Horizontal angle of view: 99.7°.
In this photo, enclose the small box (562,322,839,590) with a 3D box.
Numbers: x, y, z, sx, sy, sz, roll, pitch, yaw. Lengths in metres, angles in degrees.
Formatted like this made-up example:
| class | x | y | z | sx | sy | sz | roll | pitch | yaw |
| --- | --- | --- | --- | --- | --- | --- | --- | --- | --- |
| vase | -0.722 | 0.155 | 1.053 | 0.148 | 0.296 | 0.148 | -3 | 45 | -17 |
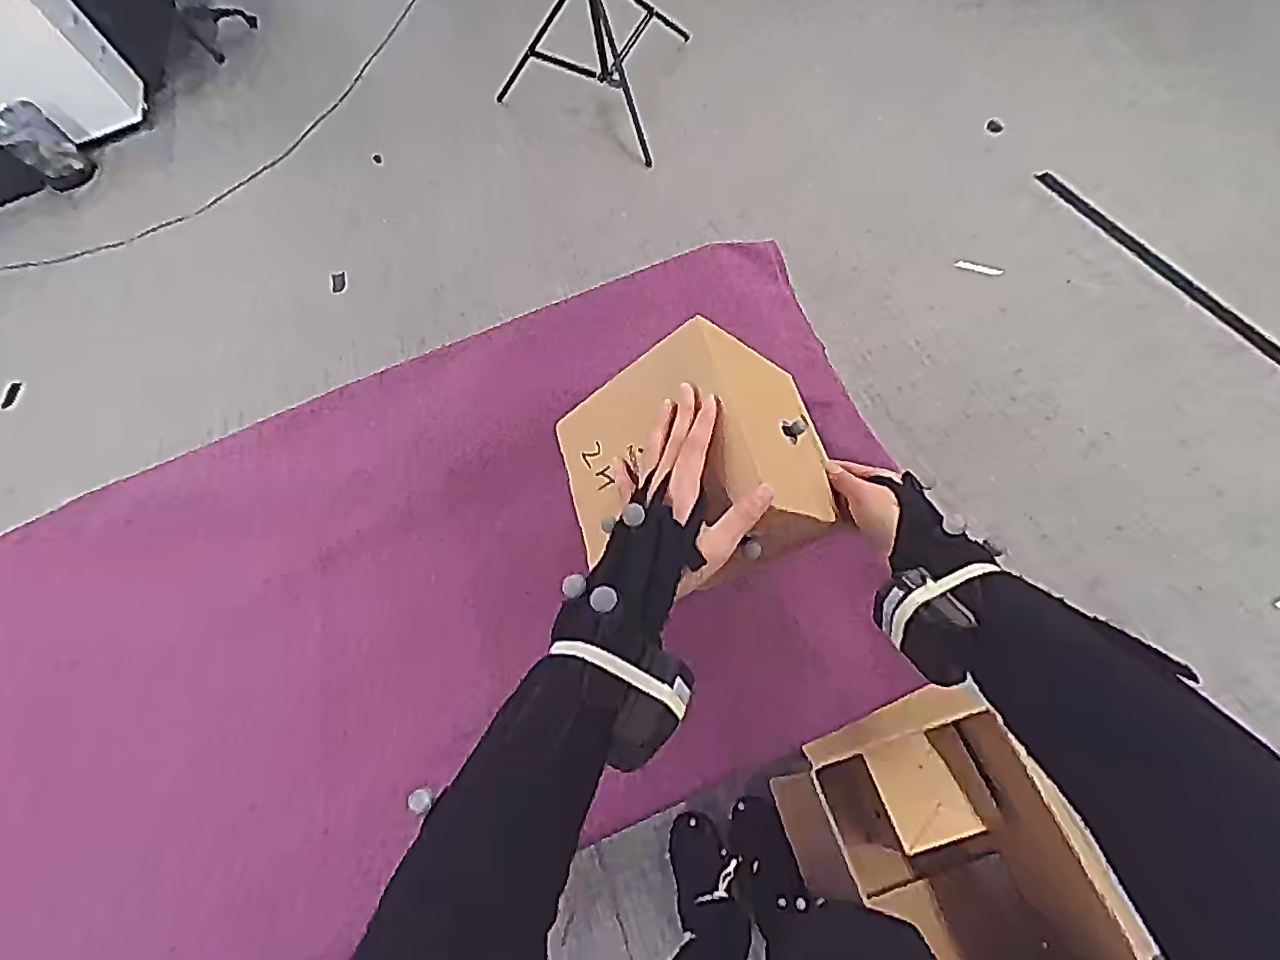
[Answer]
| class | x | y | z | sx | sy | sz | roll | pitch | yaw |
| --- | --- | --- | --- | --- | --- | --- | --- | --- | --- |
| small box | 0.060 | -0.005 | 0.496 | 0.179 | 0.176 | 0.168 | -31 | 63 | 31 |
